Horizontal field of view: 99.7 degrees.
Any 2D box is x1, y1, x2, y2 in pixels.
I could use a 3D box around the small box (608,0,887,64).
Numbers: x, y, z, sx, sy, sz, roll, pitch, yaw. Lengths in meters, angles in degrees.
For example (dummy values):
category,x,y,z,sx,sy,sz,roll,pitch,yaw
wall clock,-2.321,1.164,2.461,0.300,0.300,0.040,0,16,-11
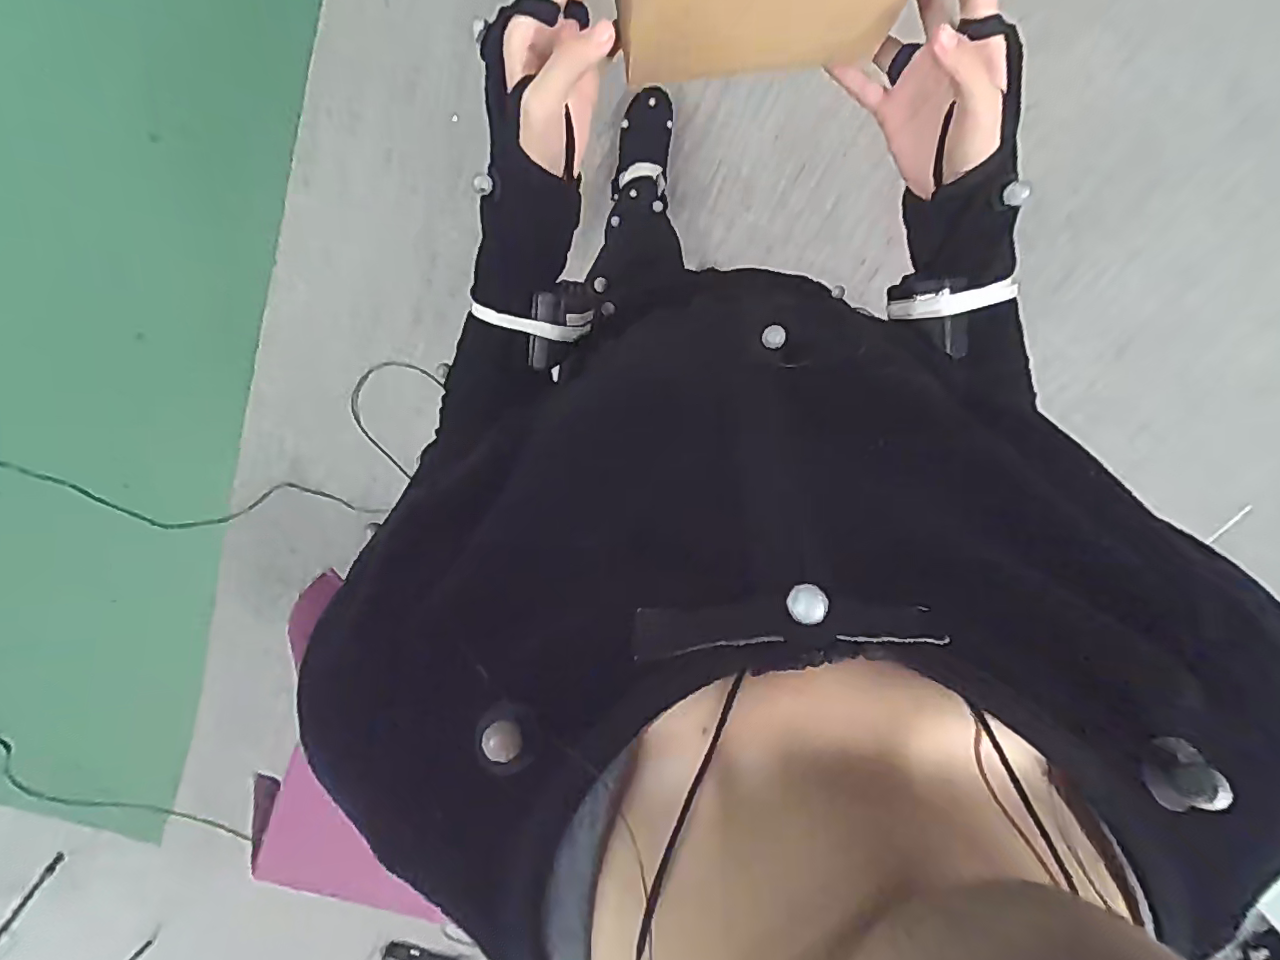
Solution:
category,x,y,z,sx,sy,sz,roll,pitch,yaw
small box,0.059,-0.359,0.267,0.168,0.179,0.176,-7,87,-2
